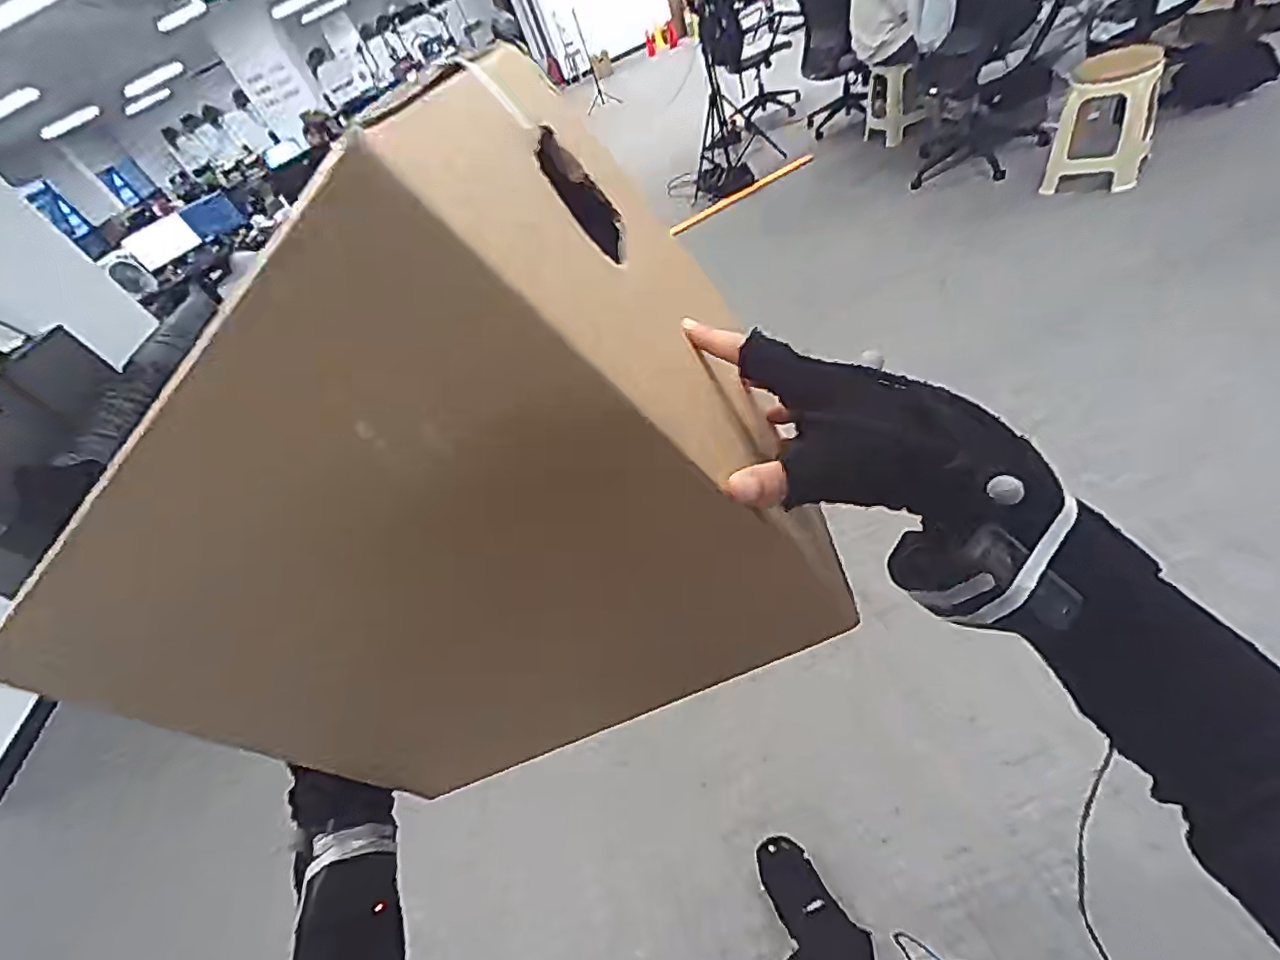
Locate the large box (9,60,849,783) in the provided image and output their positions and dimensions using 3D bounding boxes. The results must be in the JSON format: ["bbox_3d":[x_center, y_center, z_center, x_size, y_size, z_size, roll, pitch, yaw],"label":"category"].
[{"bbox_3d":[-0.125,-0.011,0.425,0.408,0.320,0.320,-32,37,24],"label":"large box"}]
